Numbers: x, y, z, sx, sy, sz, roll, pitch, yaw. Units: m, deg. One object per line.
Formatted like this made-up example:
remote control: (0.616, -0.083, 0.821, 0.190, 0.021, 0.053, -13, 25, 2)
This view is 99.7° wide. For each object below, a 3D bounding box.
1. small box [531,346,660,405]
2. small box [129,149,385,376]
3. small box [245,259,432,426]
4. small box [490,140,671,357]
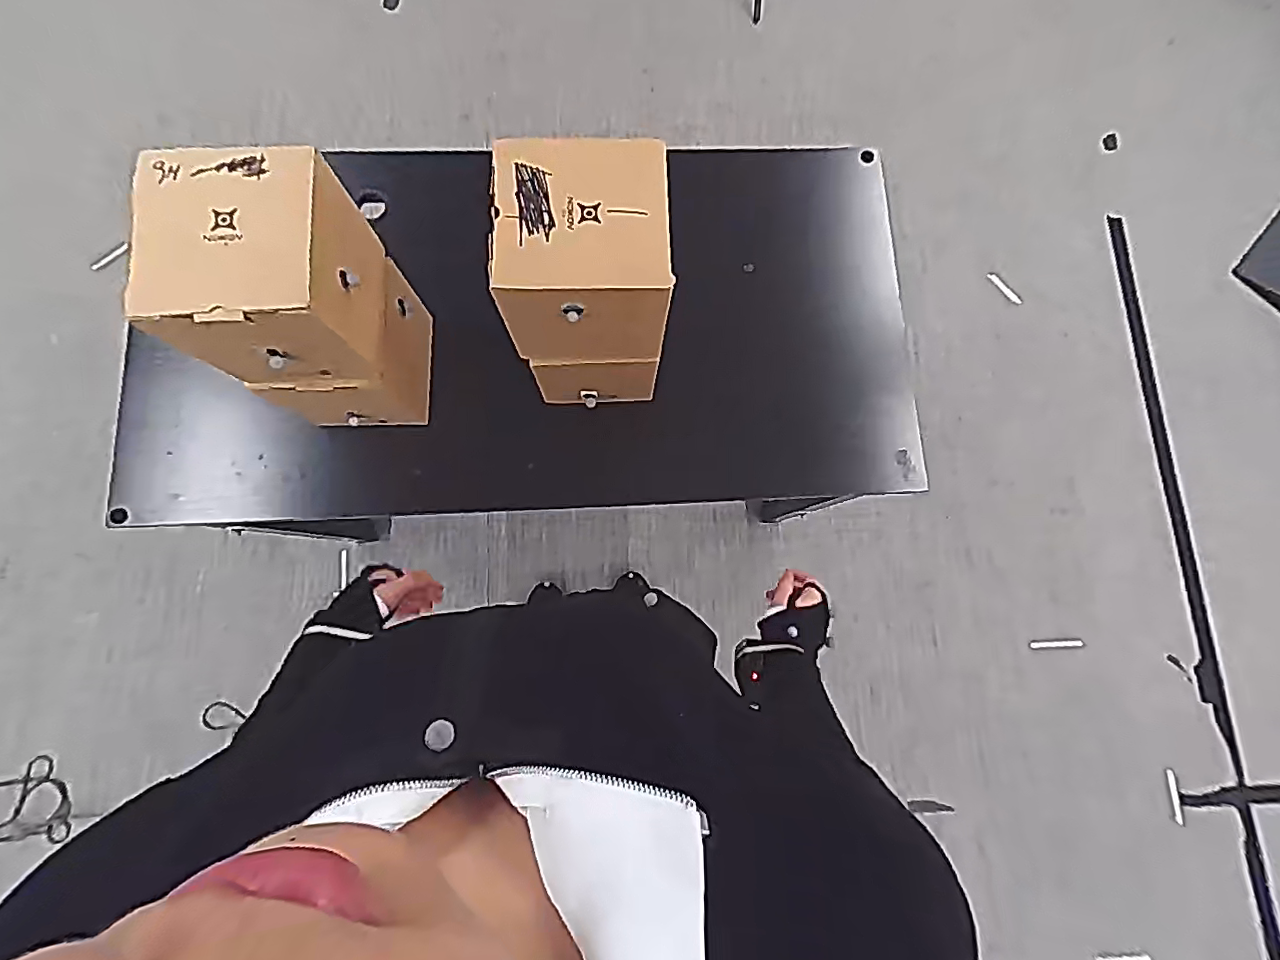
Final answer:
small box: (-0.064, -0.217, 0.772, 0.168, 0.176, 0.179, -3, 81, -2)
small box: (-0.392, -0.218, 0.586, 0.168, 0.176, 0.179, -4, 81, -4)
small box: (-0.398, -0.181, 0.746, 0.168, 0.176, 0.179, -1, 80, -3)
small box: (-0.060, -0.246, 0.610, 0.179, 0.176, 0.168, -1, 80, -3)
